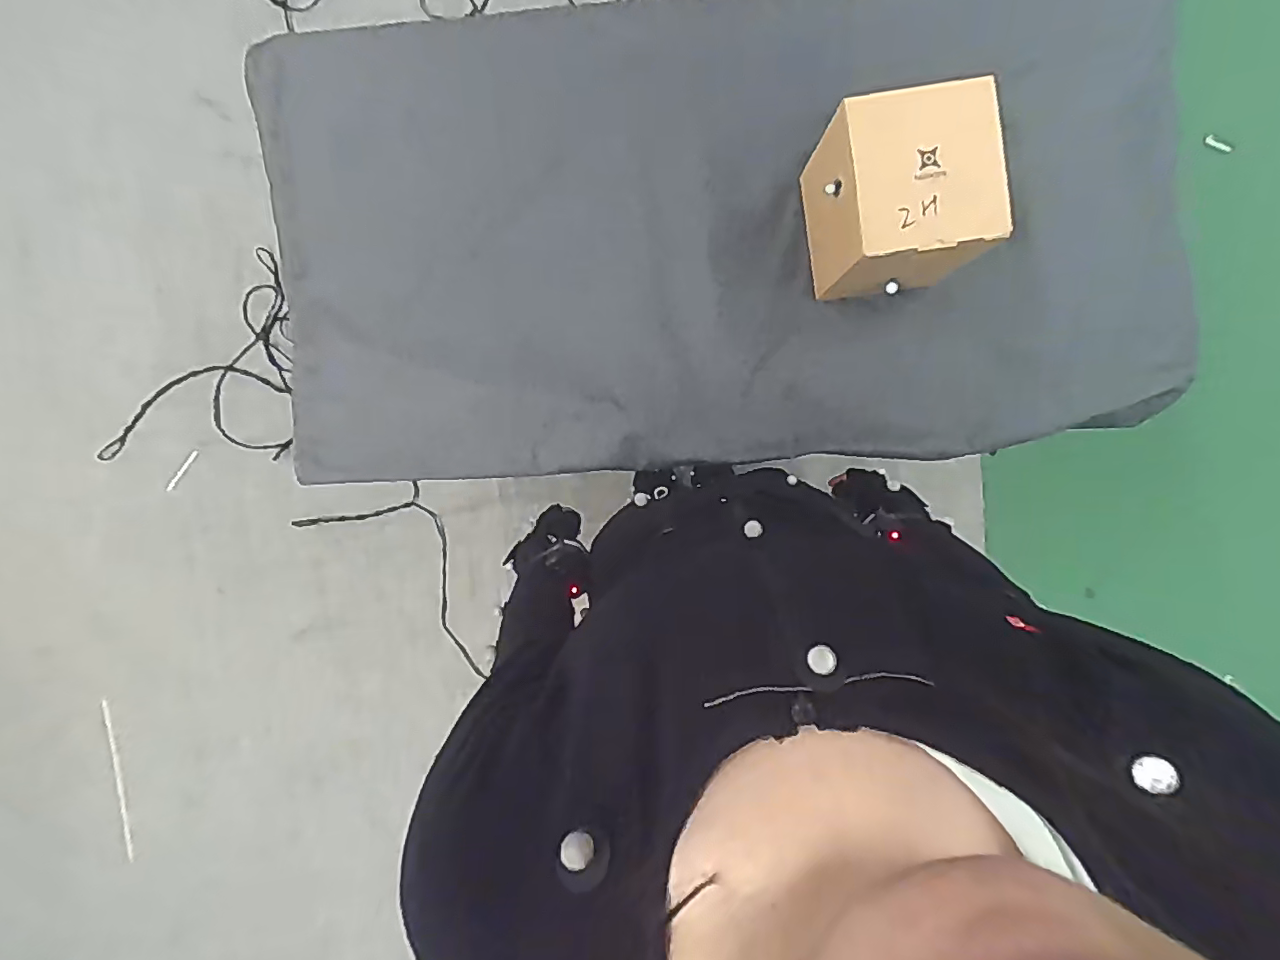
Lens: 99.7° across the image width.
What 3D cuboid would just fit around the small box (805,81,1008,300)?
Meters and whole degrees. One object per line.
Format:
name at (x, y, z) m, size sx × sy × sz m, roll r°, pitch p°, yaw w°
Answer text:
small box at (0.316, -0.345, 0.674) m, size 0.168 × 0.176 × 0.179 m, roll -7°, pitch 92°, yaw 2°
